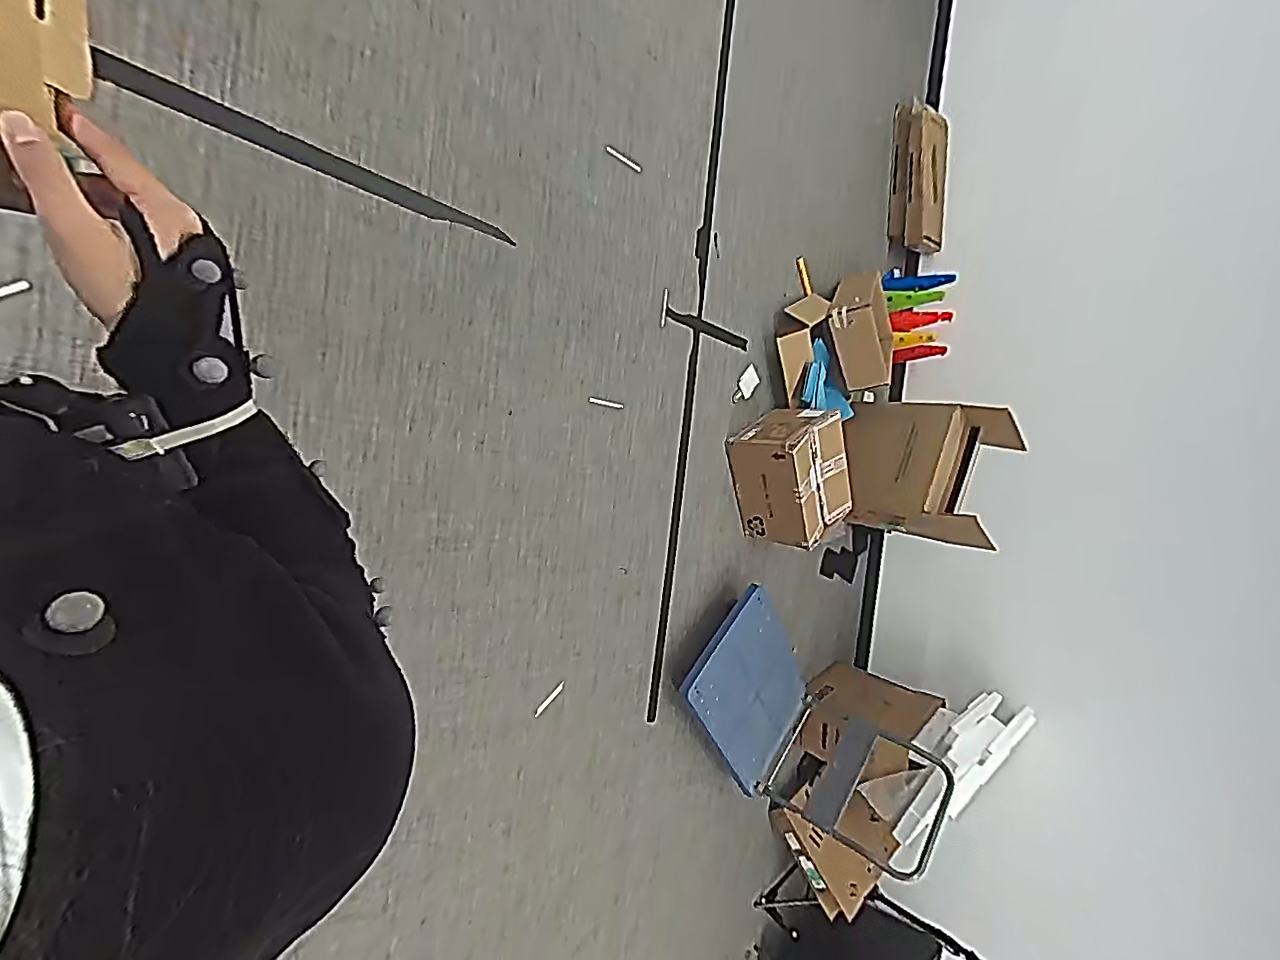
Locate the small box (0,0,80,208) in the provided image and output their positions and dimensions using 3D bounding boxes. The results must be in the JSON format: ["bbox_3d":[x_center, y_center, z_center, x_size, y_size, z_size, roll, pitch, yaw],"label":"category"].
[{"bbox_3d":[-0.401,-0.248,0.258,0.179,0.176,0.168,-5,101,-45],"label":"small box"}]
